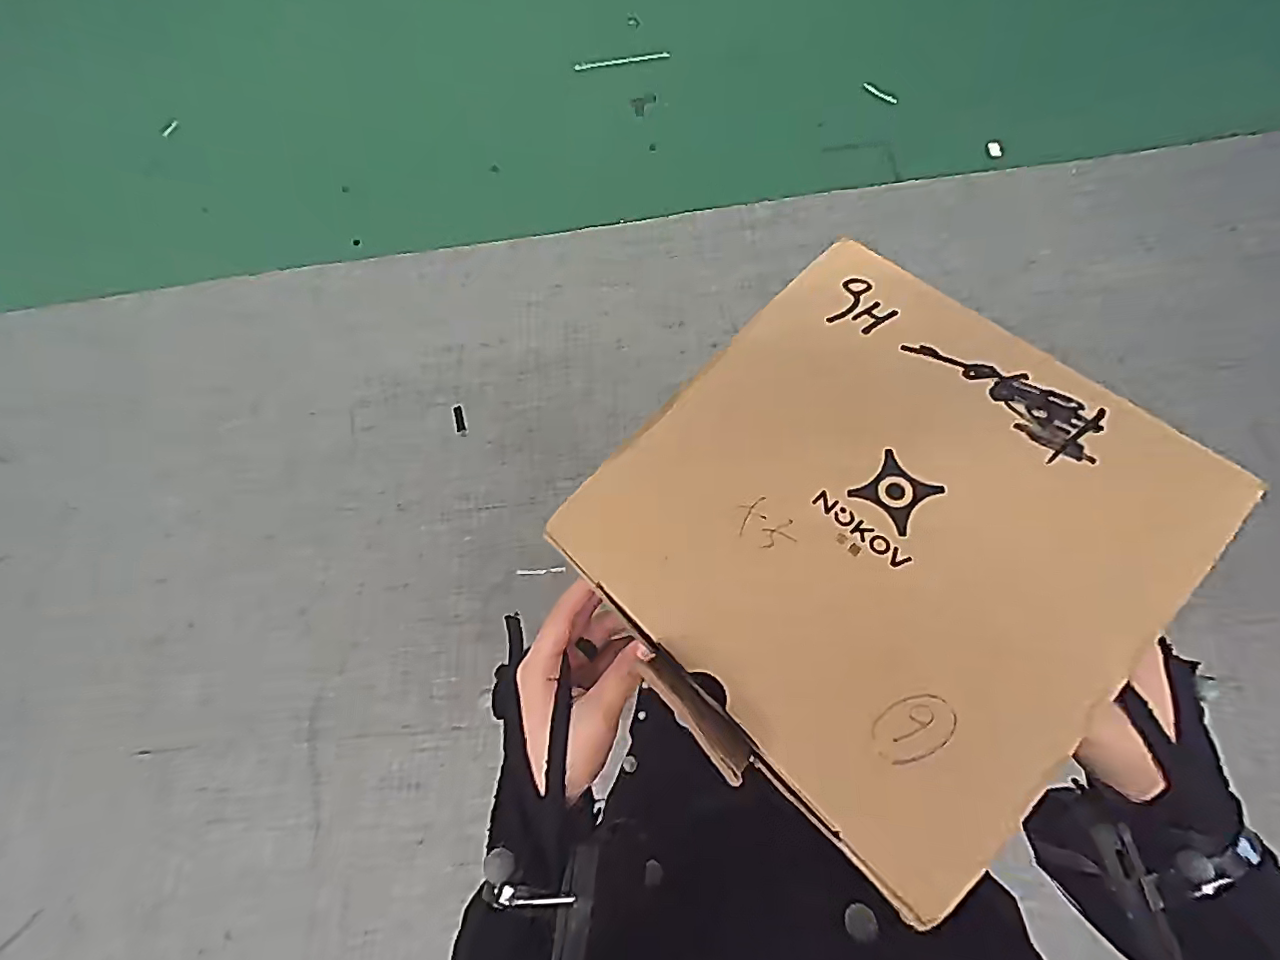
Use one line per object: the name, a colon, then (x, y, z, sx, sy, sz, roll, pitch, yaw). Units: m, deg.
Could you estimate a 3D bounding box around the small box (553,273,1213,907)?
small box: (0.091, 0.046, 0.272, 0.179, 0.176, 0.168, -45, 70, -9)
